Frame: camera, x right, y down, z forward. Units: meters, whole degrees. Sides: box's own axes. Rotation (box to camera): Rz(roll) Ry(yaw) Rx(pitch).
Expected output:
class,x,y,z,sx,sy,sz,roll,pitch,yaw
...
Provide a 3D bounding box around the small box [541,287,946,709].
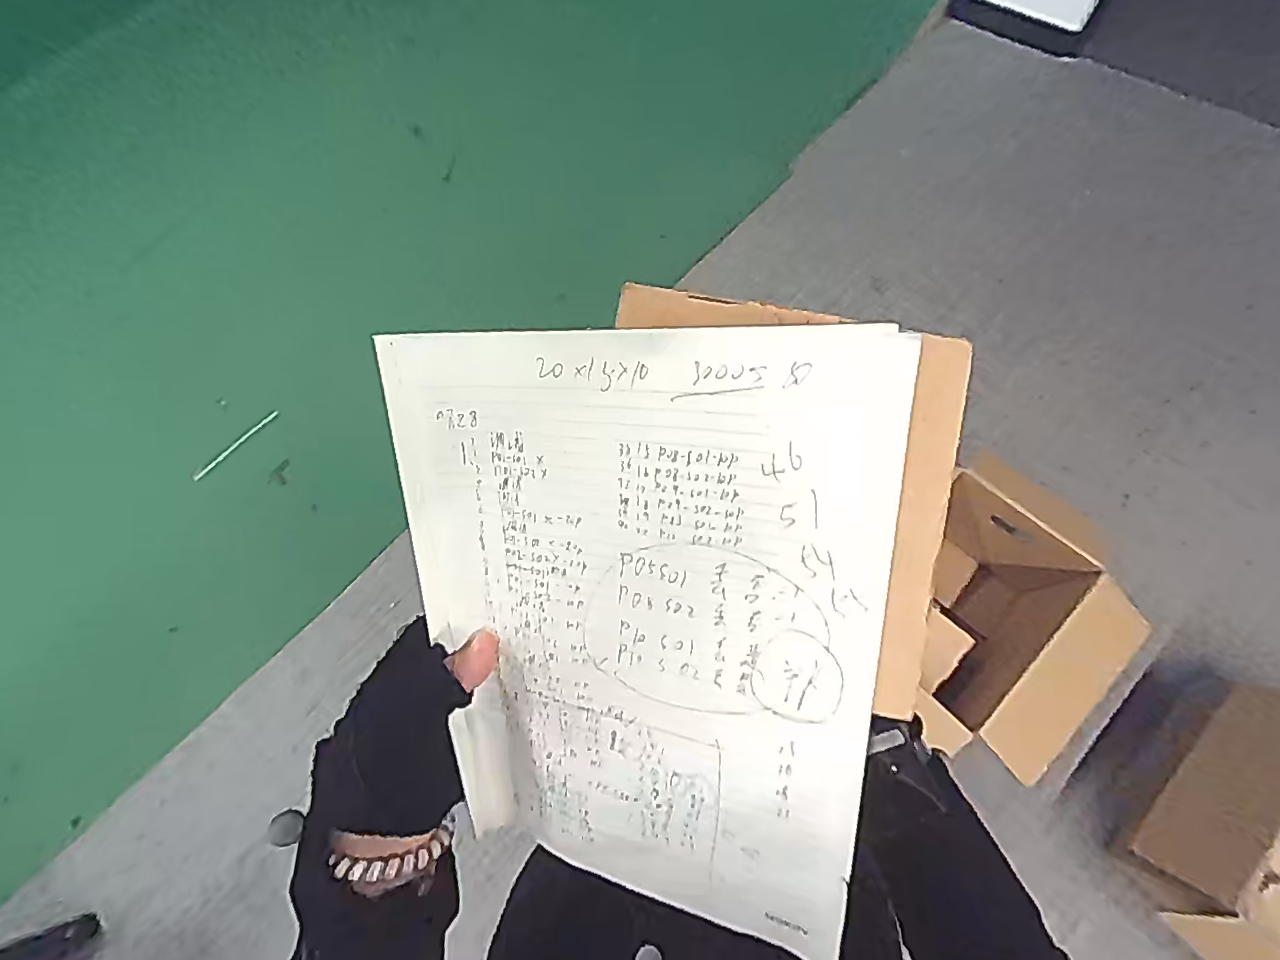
class,x,y,z,sx,sy,sz,roll,pitch,yaw
small box,0.054,0.011,0.333,0.168,0.176,0.179,11,84,4
